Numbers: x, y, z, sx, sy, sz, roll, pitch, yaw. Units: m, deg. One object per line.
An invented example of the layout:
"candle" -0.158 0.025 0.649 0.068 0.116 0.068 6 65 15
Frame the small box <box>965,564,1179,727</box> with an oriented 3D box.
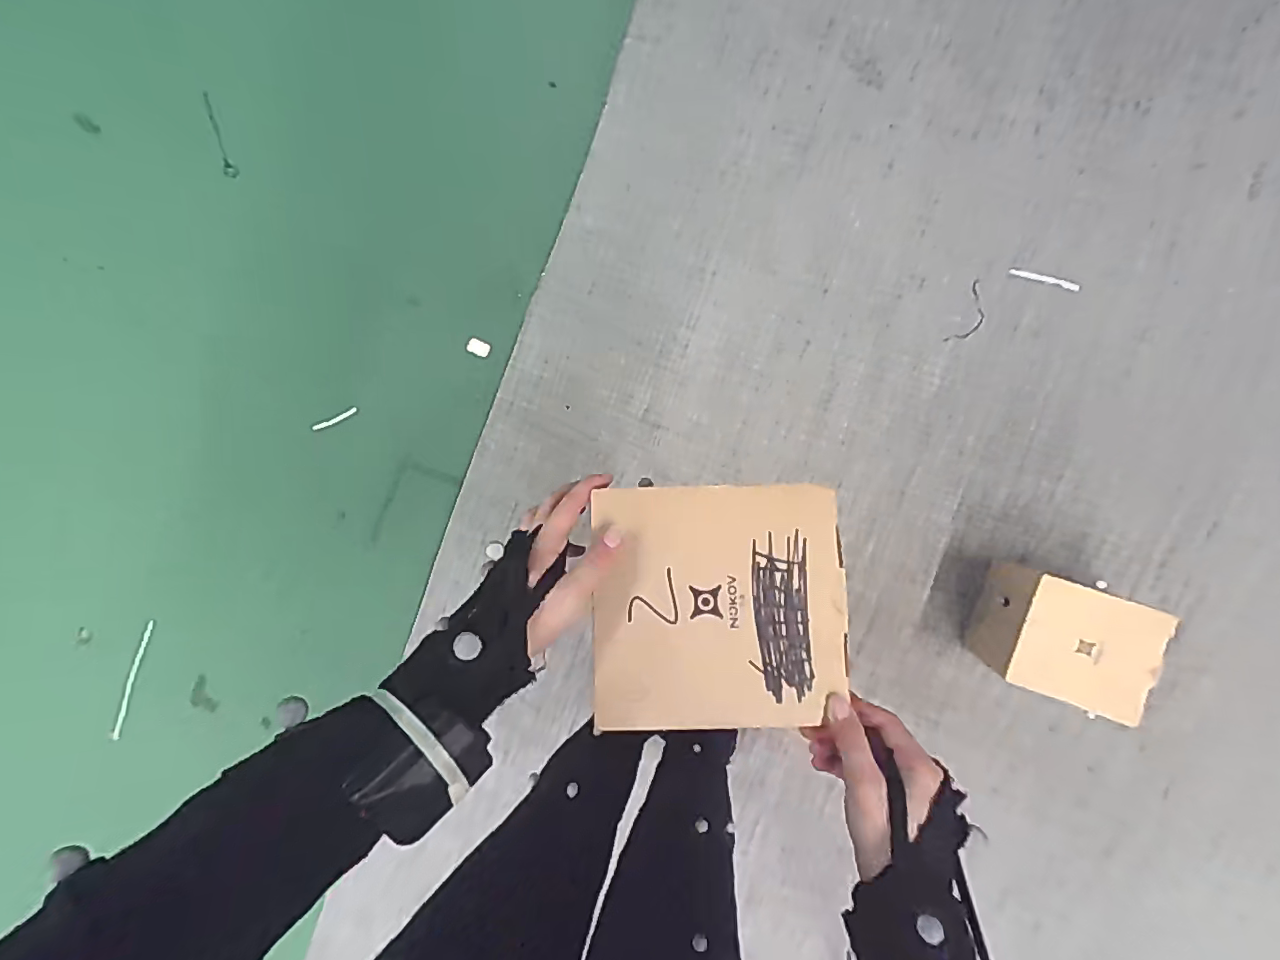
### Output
"small box" 0.634 0.234 0.822 0.179 0.176 0.168 18 93 11
